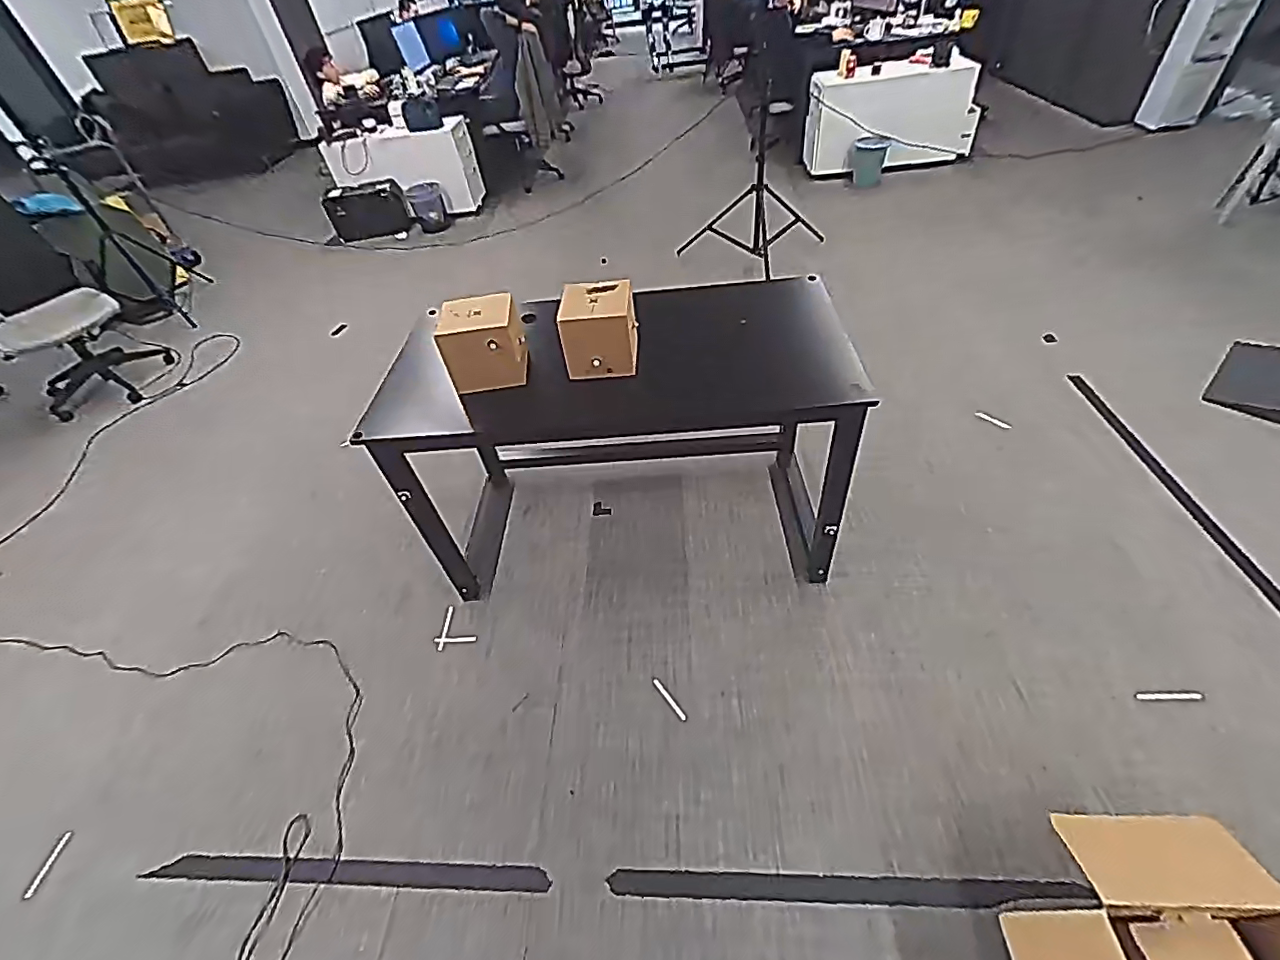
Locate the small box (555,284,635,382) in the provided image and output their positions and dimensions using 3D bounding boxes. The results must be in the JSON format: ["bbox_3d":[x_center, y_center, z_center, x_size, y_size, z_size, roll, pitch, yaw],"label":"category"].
[{"bbox_3d":[-0.103,-0.365,1.343,0.168,0.176,0.179,-3,47,6],"label":"small box"}]

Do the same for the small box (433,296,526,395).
[{"bbox_3d":[-0.391,-0.333,1.354,0.179,0.176,0.168,-9,45,0],"label":"small box"}]
